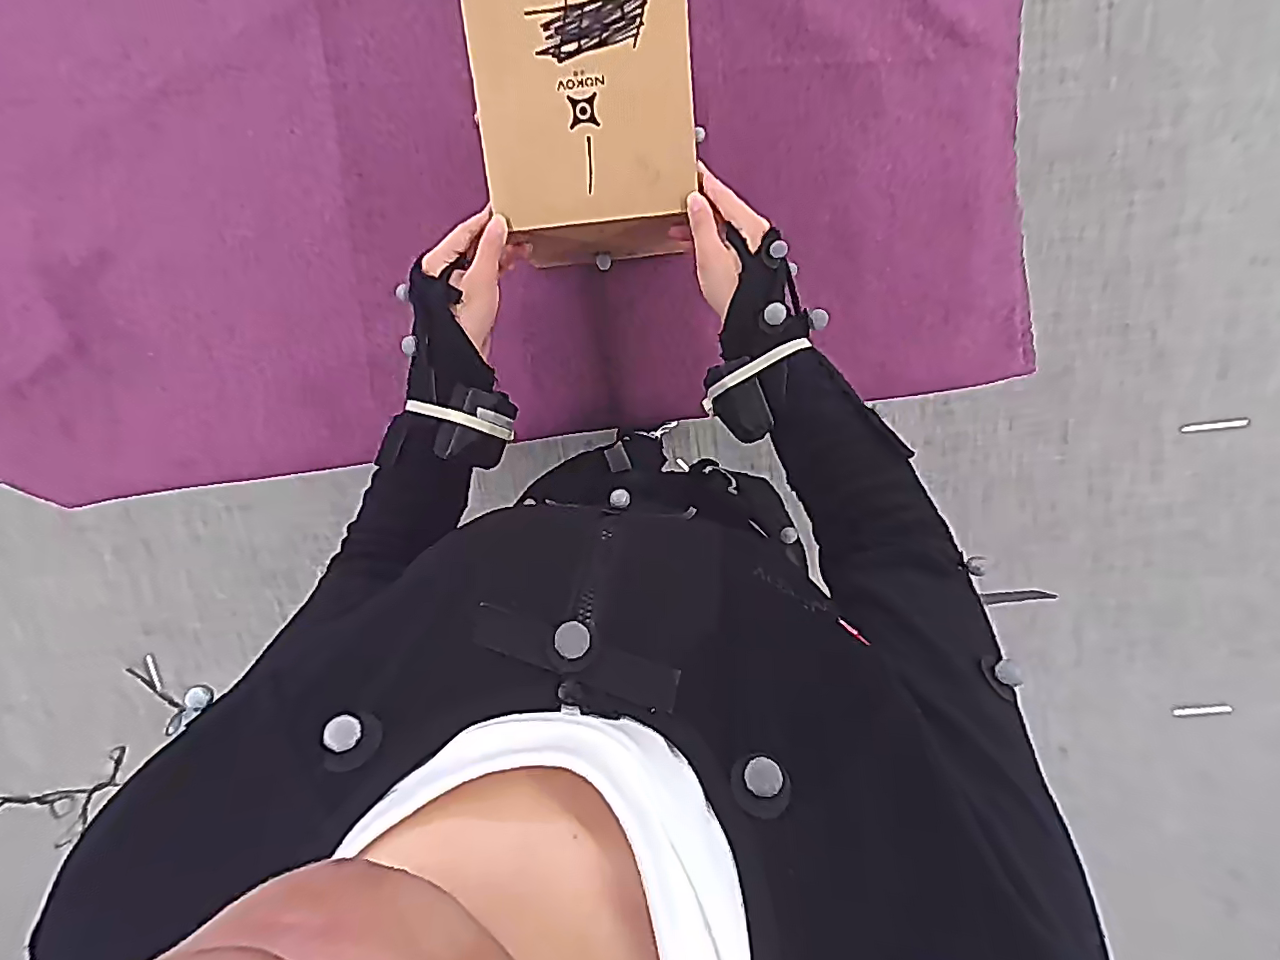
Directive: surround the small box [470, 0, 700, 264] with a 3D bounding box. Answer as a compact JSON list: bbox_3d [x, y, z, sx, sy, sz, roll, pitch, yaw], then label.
[{"bbox_3d":[-0.039,-0.308,0.488,0.168,0.176,0.179,-5,103,2],"label":"small box"}]
